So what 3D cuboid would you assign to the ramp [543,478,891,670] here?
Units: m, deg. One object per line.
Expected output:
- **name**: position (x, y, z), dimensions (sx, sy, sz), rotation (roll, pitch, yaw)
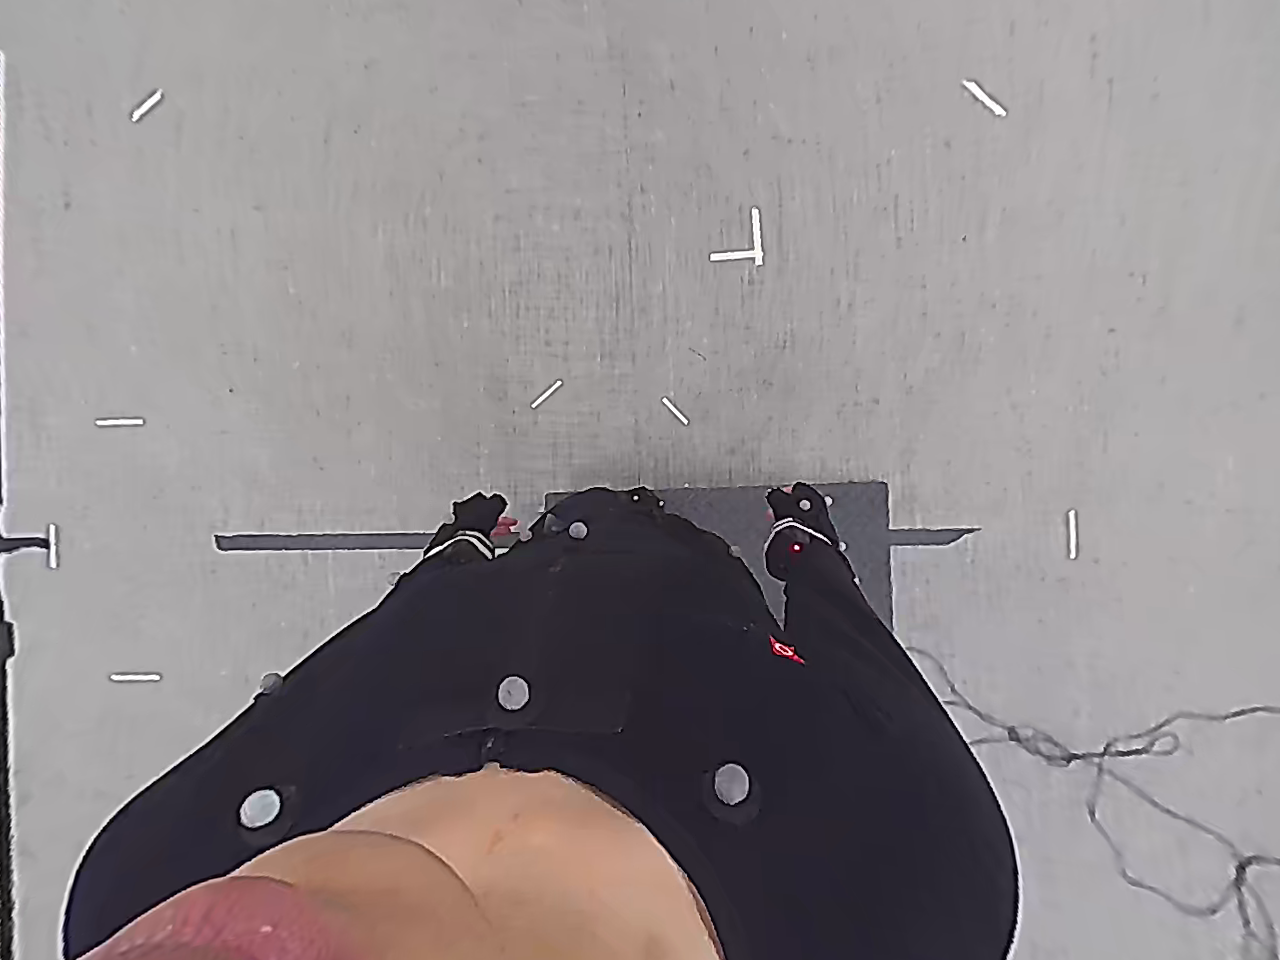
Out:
- **ramp**: position (0.237, 0.250, 1.534), dimensions (0.991, 0.206, 0.509), rotation (-4, 88, 2)
